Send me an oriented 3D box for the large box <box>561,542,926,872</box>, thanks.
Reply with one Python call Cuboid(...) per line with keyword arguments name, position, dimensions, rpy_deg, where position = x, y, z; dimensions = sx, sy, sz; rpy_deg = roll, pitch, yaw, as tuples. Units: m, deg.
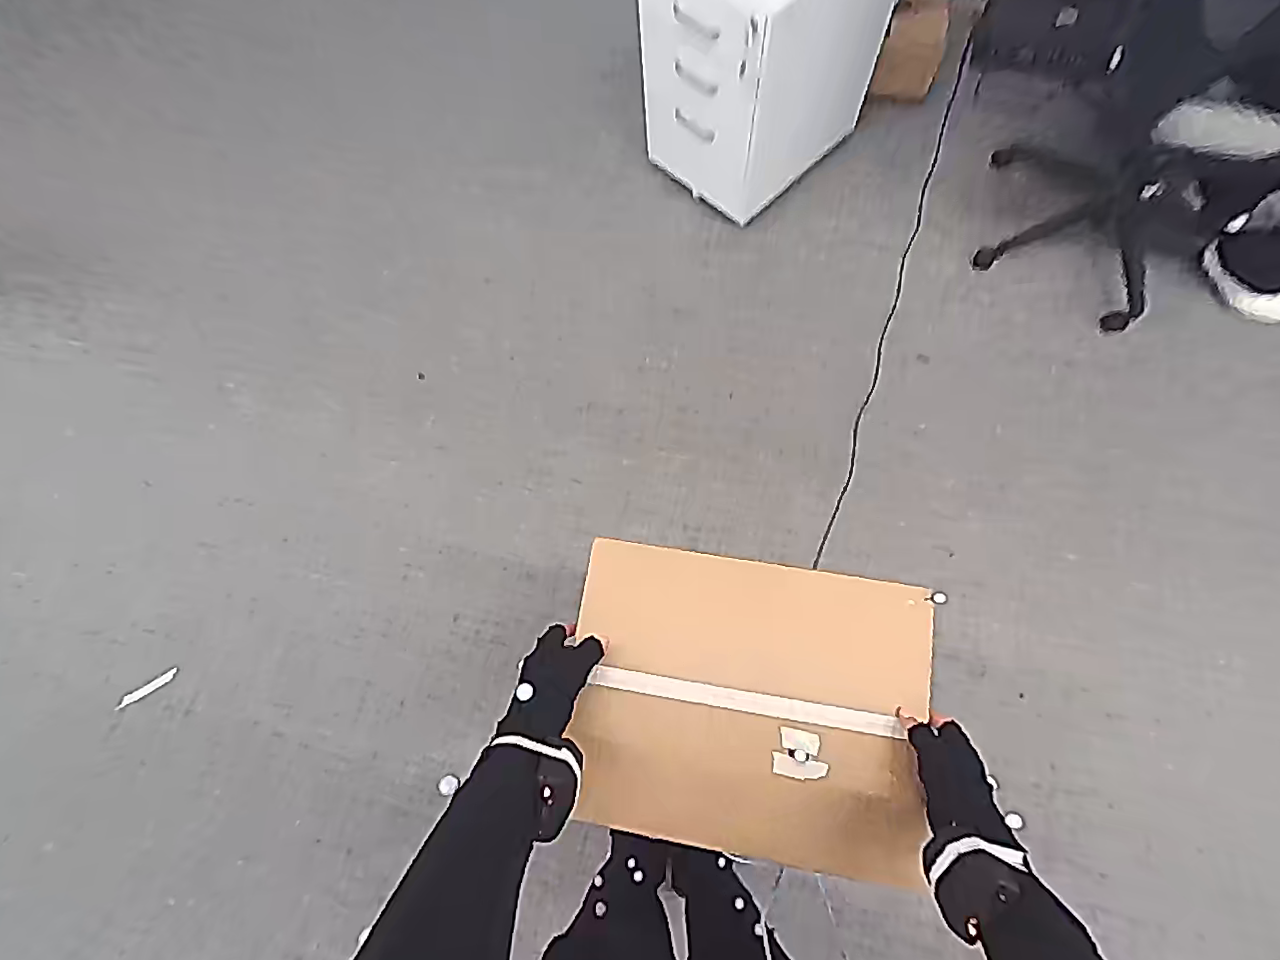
Cuboid(name="large box", position=(0.134, 0.286, 0.775), dimensions=(0.408, 0.320, 0.320), rpy_deg=(8, 77, 7))
